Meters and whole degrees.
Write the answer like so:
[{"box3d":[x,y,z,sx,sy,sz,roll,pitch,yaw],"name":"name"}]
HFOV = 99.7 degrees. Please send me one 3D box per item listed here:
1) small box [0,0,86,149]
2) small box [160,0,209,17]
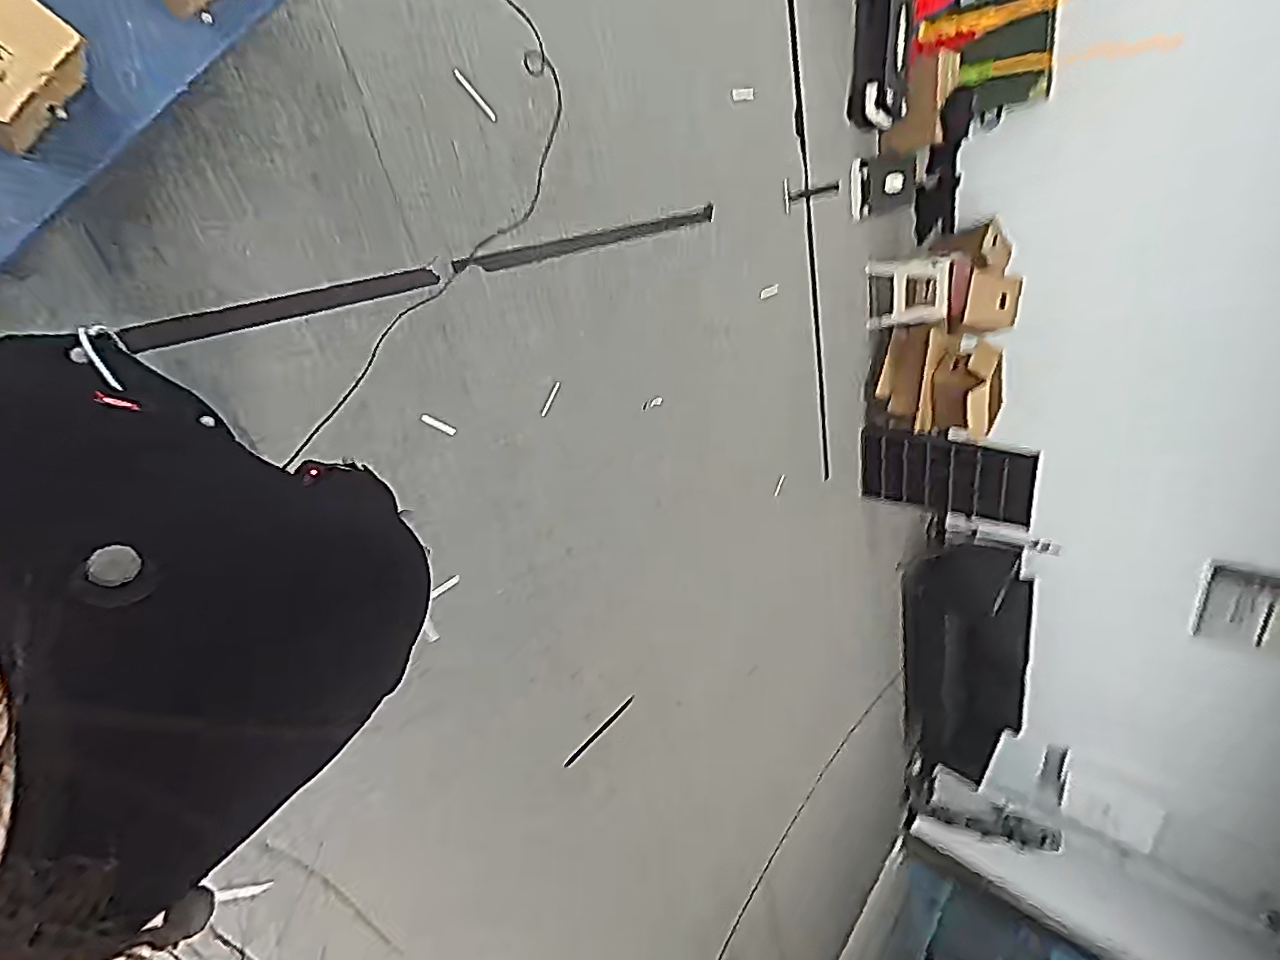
[{"box3d":[-0.910,-0.592,0.730,0.179,0.176,0.168,38,73,-43],"name":"small box"},{"box3d":[-0.730,-0.885,0.841,0.168,0.176,0.179,44,70,-41],"name":"small box"}]
